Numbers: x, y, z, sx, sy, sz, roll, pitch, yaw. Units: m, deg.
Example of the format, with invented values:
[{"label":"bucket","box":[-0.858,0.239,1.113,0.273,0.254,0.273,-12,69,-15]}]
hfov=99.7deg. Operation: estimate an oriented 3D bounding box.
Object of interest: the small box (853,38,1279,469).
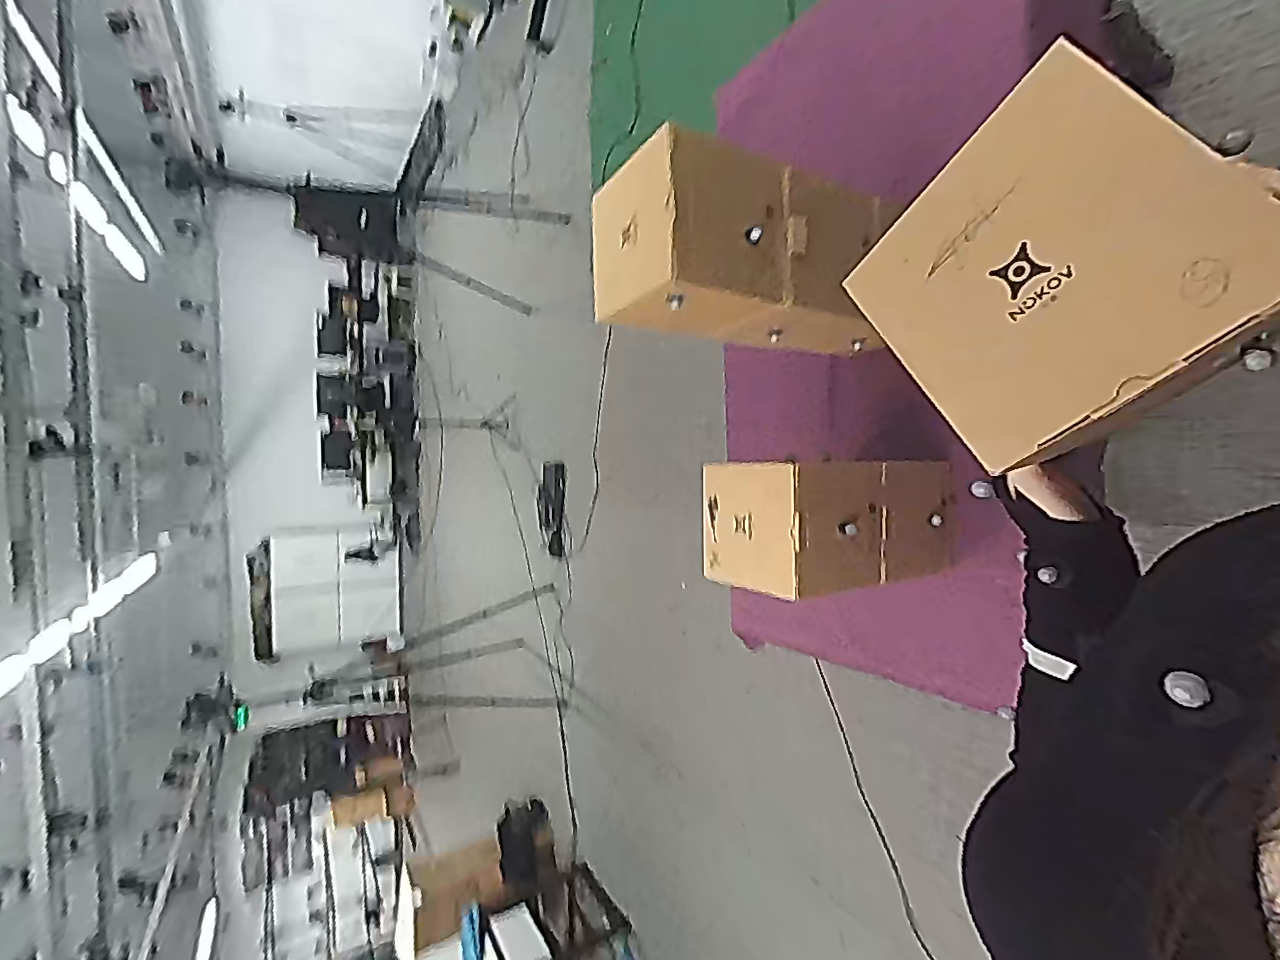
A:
[{"label":"small box","box":[0.290,-0.130,0.356,0.168,0.176,0.179,-48,58,46]}]

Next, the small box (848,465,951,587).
[{"label":"small box","box":[0.348,0.062,0.837,0.179,0.176,0.168,1,92,57]}]

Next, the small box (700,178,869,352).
[{"label":"small box","box":[0.199,-0.283,0.754,0.179,0.176,0.168,-2,90,59]}]

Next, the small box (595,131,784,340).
[{"label":"small box","box":[0.057,-0.282,0.674,0.179,0.176,0.168,-4,88,57]}]

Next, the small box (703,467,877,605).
[{"label":"small box","box":[0.208,0.065,0.751,0.179,0.176,0.168,0,91,57]}]
